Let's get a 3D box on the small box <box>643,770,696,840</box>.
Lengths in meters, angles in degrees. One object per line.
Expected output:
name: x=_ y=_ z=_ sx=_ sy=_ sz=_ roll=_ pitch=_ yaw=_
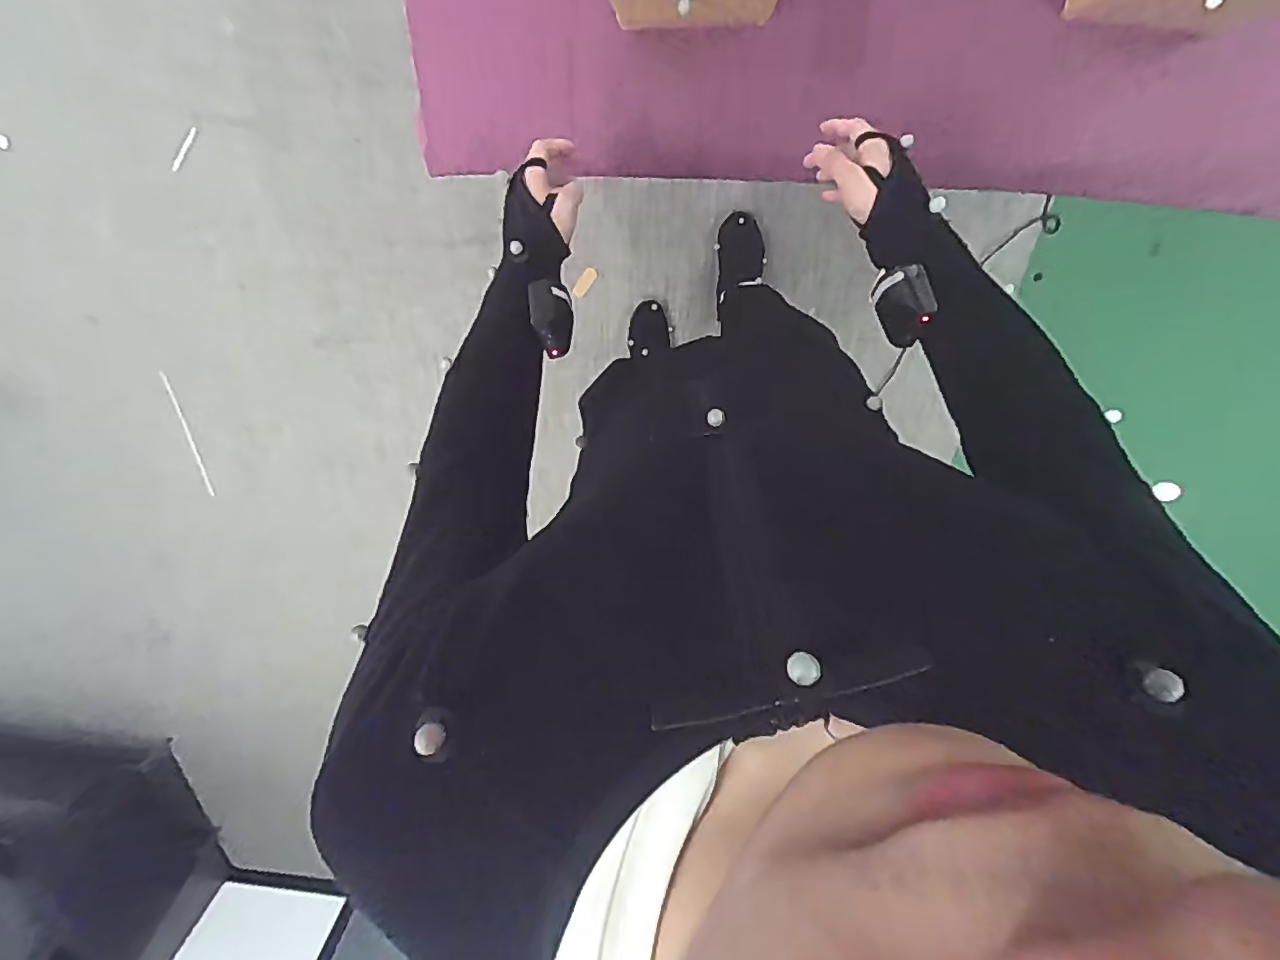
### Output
small box: x=0.118 y=1.288 z=2.153 sx=0.179 sy=0.176 sz=0.168 roll=12 pitch=119 yaw=-1

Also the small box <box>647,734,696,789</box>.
small box: x=0.136 y=1.216 z=2.302 sx=0.179 sy=0.176 sz=0.168 roll=13 pitch=119 yaw=-1

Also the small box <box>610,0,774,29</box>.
small box: x=0.058 y=-0.571 z=0.534 sx=0.179 sy=0.176 sz=0.168 roll=3 pitch=119 yaw=5
